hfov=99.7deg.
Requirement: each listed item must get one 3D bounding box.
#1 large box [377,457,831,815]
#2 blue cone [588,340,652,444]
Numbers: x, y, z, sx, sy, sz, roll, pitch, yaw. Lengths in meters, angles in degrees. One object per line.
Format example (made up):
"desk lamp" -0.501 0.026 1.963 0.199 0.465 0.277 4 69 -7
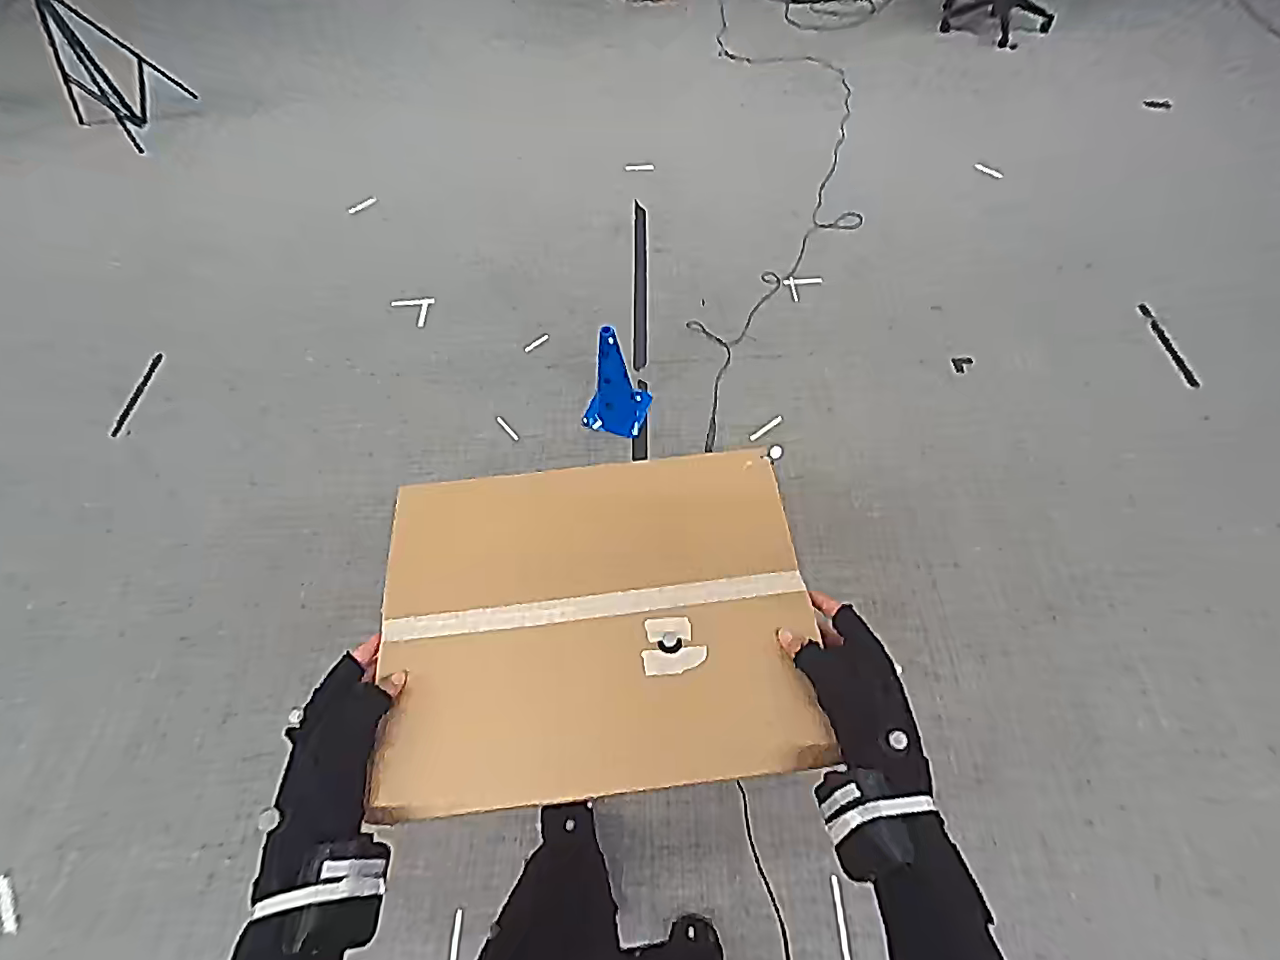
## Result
"large box" -0.043 0.201 0.665 0.408 0.320 0.320 -6 61 -2
"blue cone" -0.077 -0.300 1.709 0.193 0.380 0.192 16 61 14
